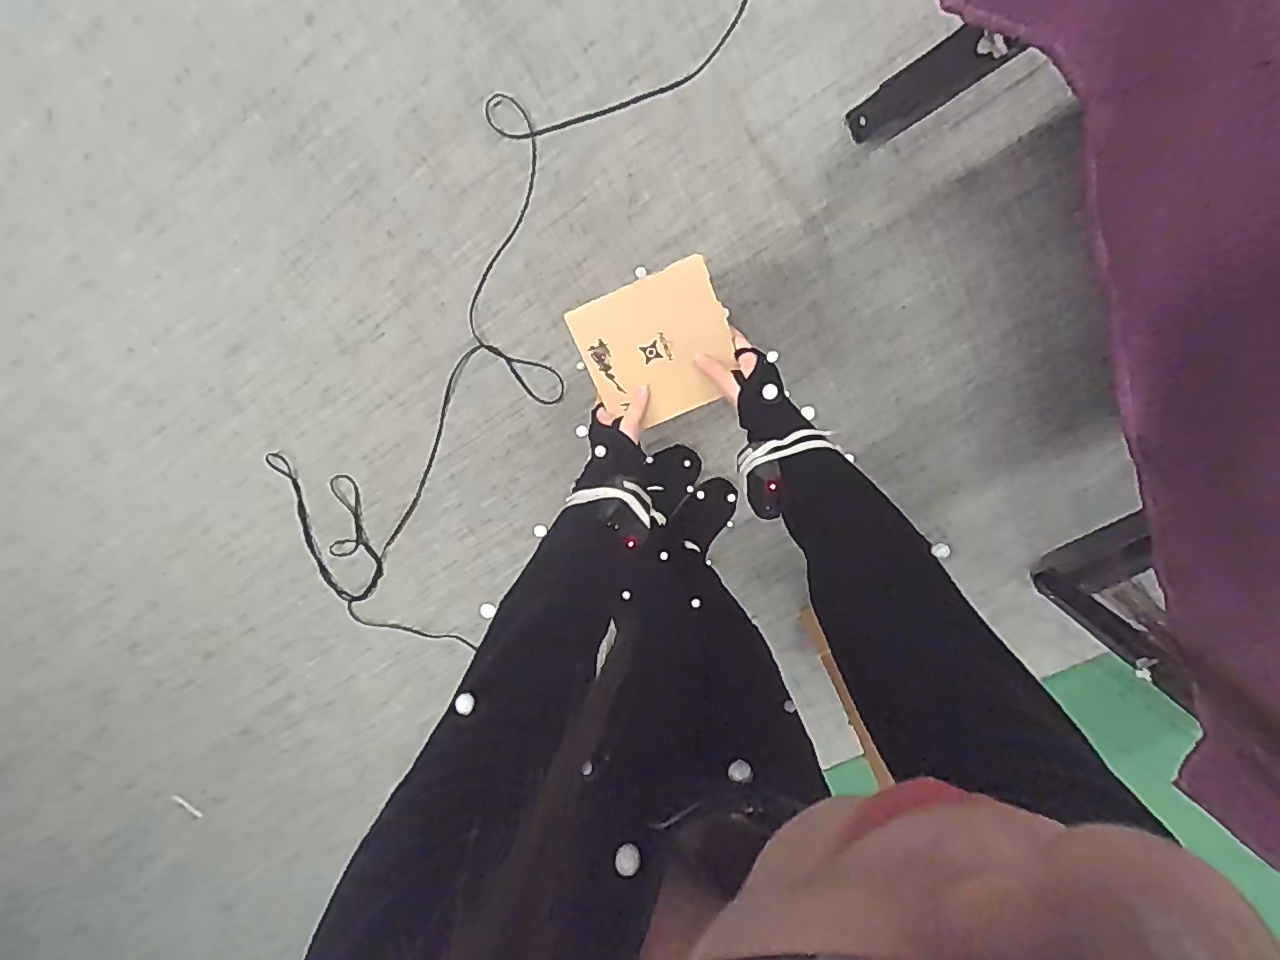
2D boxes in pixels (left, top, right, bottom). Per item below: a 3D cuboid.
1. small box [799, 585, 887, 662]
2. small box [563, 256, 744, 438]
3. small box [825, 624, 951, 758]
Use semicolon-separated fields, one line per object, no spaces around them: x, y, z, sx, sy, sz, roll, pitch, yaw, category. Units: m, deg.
0.510;0.377;1.305;0.168;0.176;0.179;-32;109;12;small box
0.016;-0.181;0.717;0.179;0.176;0.168;-22;108;7;small box
0.516;0.445;1.157;0.179;0.176;0.168;-30;111;10;small box
